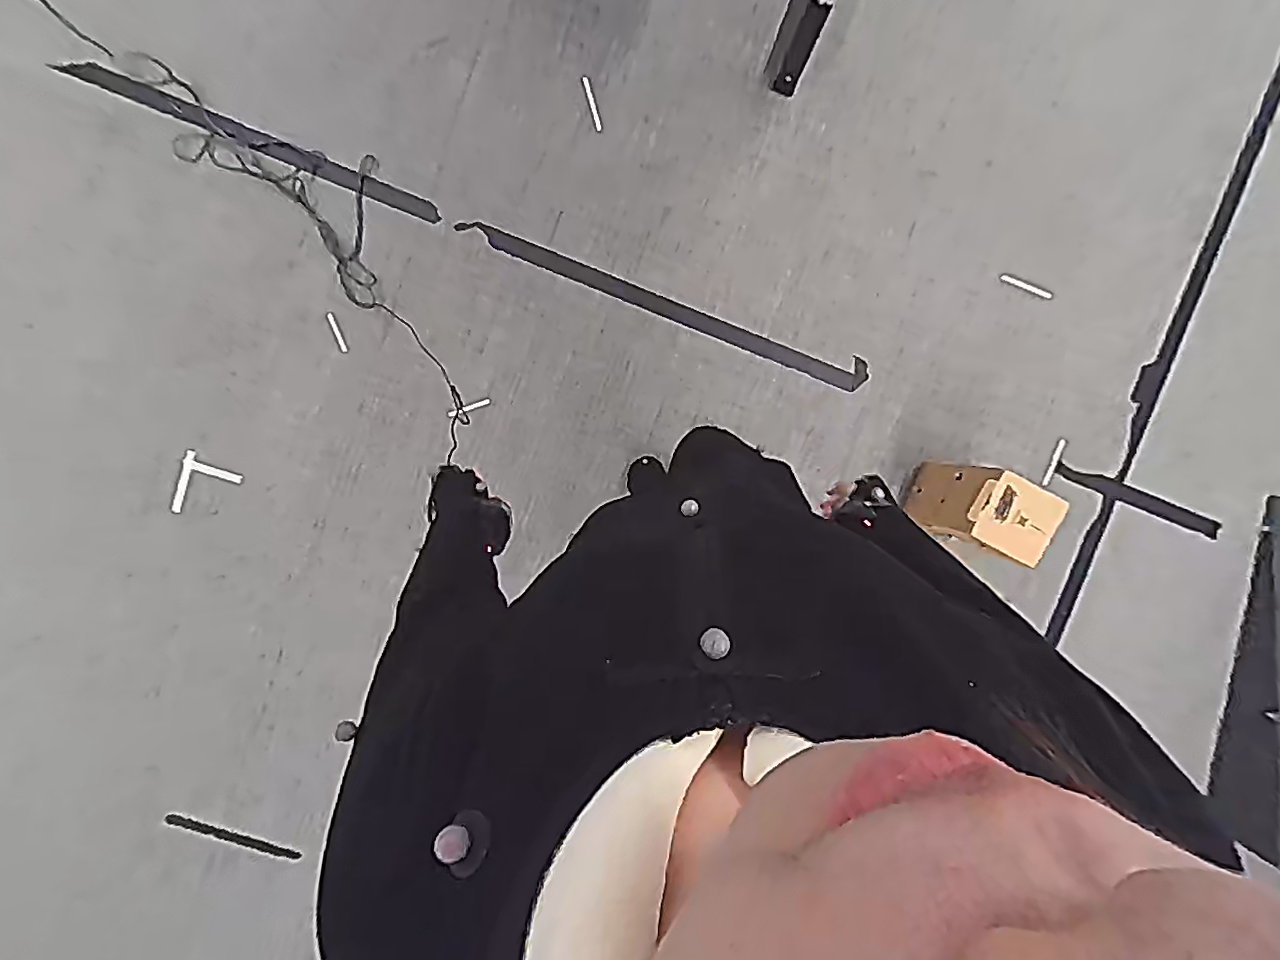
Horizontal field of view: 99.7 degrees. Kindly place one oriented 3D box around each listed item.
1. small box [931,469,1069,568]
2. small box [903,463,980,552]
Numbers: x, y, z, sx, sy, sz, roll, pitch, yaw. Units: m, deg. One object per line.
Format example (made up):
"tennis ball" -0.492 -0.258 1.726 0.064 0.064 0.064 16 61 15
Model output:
"small box" 0.831 0.082 1.270 0.179 0.176 0.168 27 94 -4
"small box" 0.833 0.067 1.435 0.168 0.176 0.179 23 95 -3
